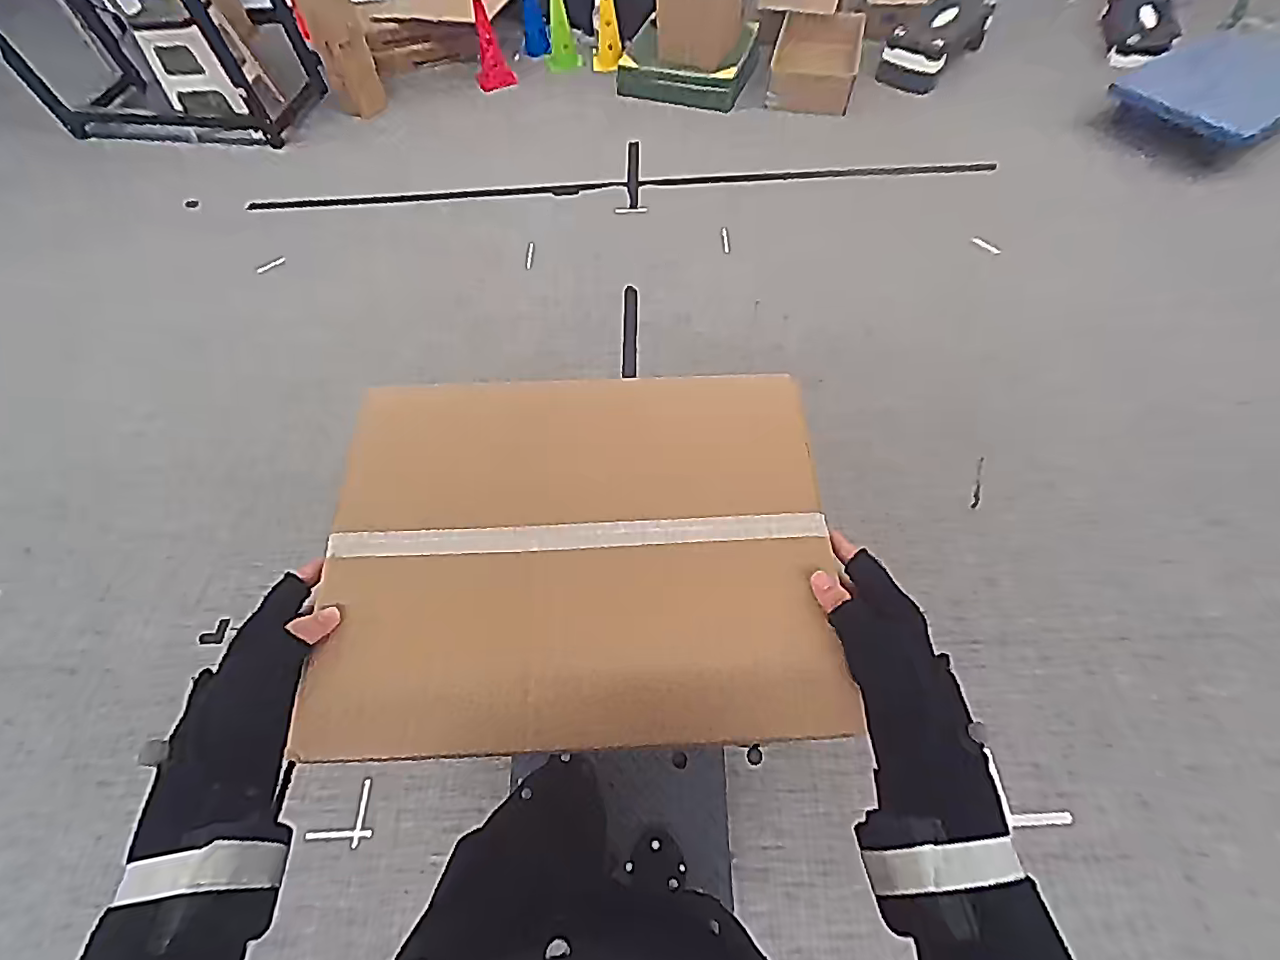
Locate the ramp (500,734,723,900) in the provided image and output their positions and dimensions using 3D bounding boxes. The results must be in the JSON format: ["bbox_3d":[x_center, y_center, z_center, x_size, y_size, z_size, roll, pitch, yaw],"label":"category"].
[{"bbox_3d":[-0.065,0.430,1.323,0.509,0.206,0.991,-2,61,-1],"label":"ramp"}]

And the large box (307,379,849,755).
[{"bbox_3d":[-0.050,0.110,0.589,0.408,0.320,0.320,-2,64,-2],"label":"large box"}]
